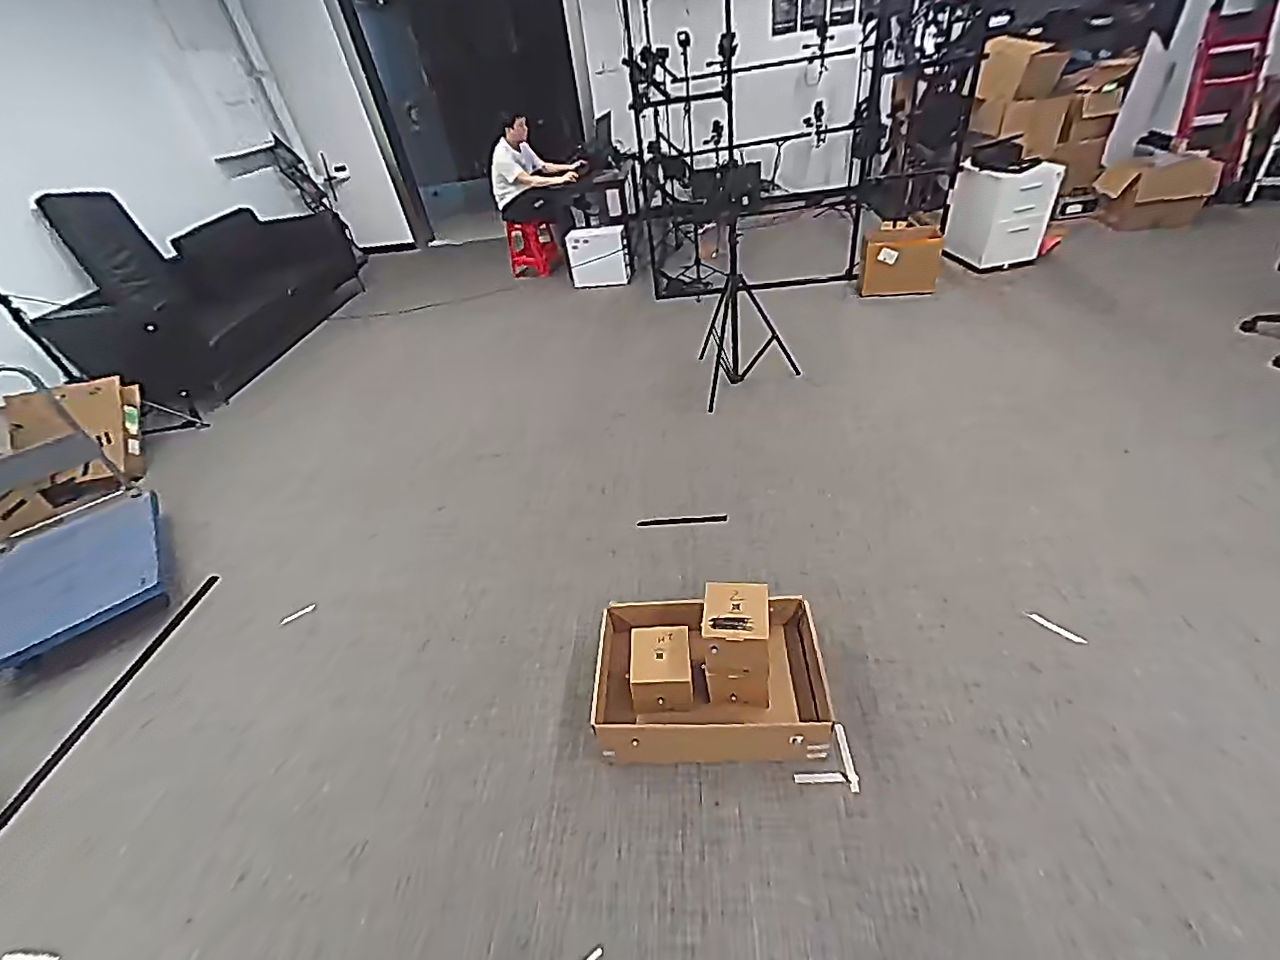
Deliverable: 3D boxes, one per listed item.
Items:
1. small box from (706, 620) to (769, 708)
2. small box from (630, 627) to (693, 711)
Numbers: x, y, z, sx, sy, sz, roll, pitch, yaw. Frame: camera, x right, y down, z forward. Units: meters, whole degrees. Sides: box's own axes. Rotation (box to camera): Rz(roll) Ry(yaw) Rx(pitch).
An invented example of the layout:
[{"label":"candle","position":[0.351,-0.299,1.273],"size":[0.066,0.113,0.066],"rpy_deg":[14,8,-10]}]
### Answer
[{"label":"small box","position":[0.279,0.521,1.539],"size":[0.168,0.176,0.179],"rpy_deg":[-3,40,12]},{"label":"small box","position":[0.063,0.544,1.548],"size":[0.168,0.176,0.179],"rpy_deg":[-3,39,3]}]
